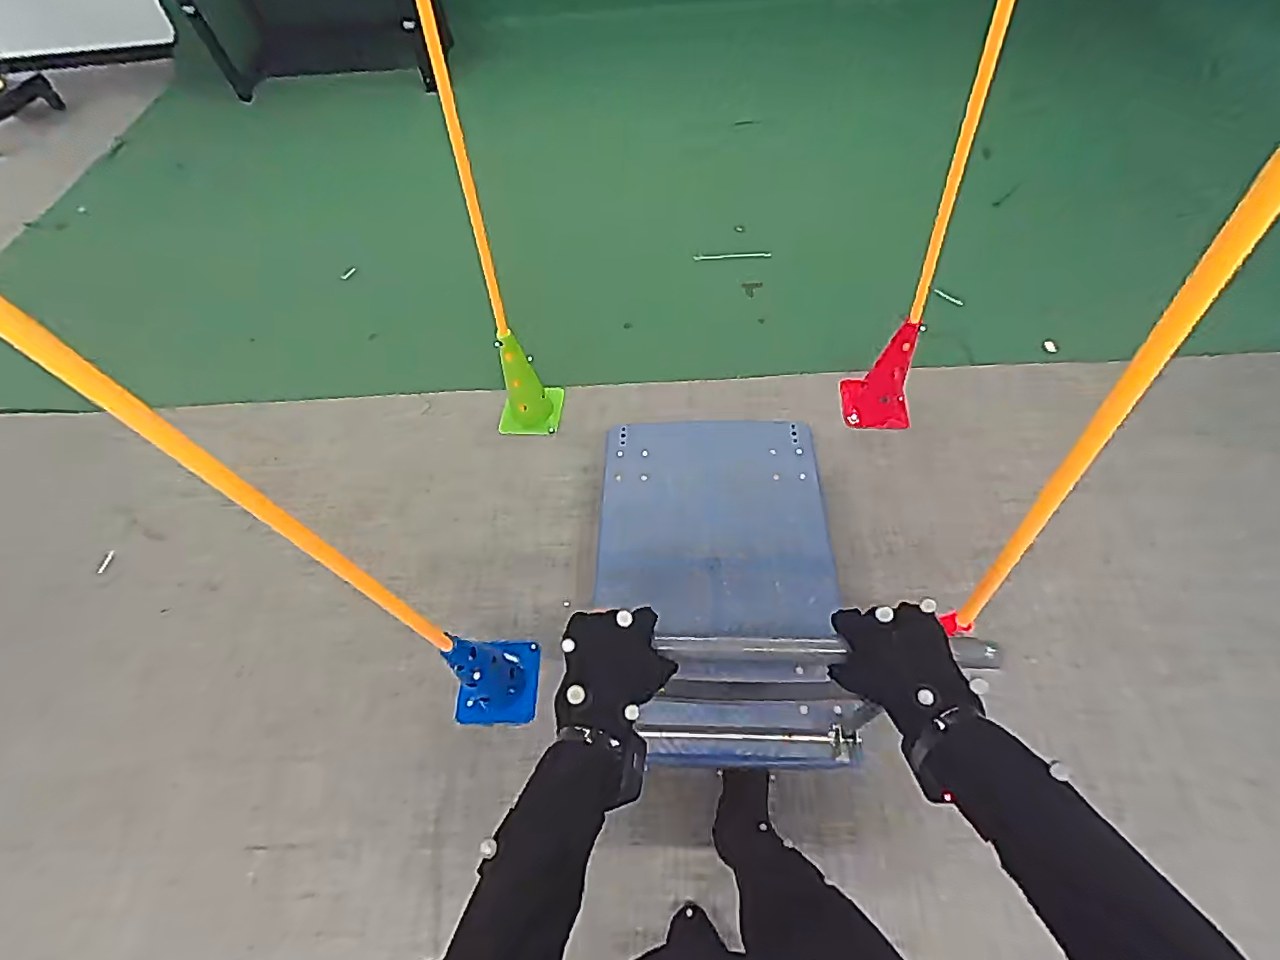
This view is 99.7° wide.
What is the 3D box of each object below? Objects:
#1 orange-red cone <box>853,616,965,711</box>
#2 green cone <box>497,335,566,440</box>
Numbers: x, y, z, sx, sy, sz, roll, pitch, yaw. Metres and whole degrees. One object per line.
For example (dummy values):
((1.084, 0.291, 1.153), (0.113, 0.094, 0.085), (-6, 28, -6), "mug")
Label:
((0.631, 0.379, 1.205), (0.199, 0.360, 0.198), (-3, 57, 4), "orange-red cone")
((-0.374, -0.312, 1.707), (0.202, 0.368, 0.200), (1, 58, 6), "green cone")
